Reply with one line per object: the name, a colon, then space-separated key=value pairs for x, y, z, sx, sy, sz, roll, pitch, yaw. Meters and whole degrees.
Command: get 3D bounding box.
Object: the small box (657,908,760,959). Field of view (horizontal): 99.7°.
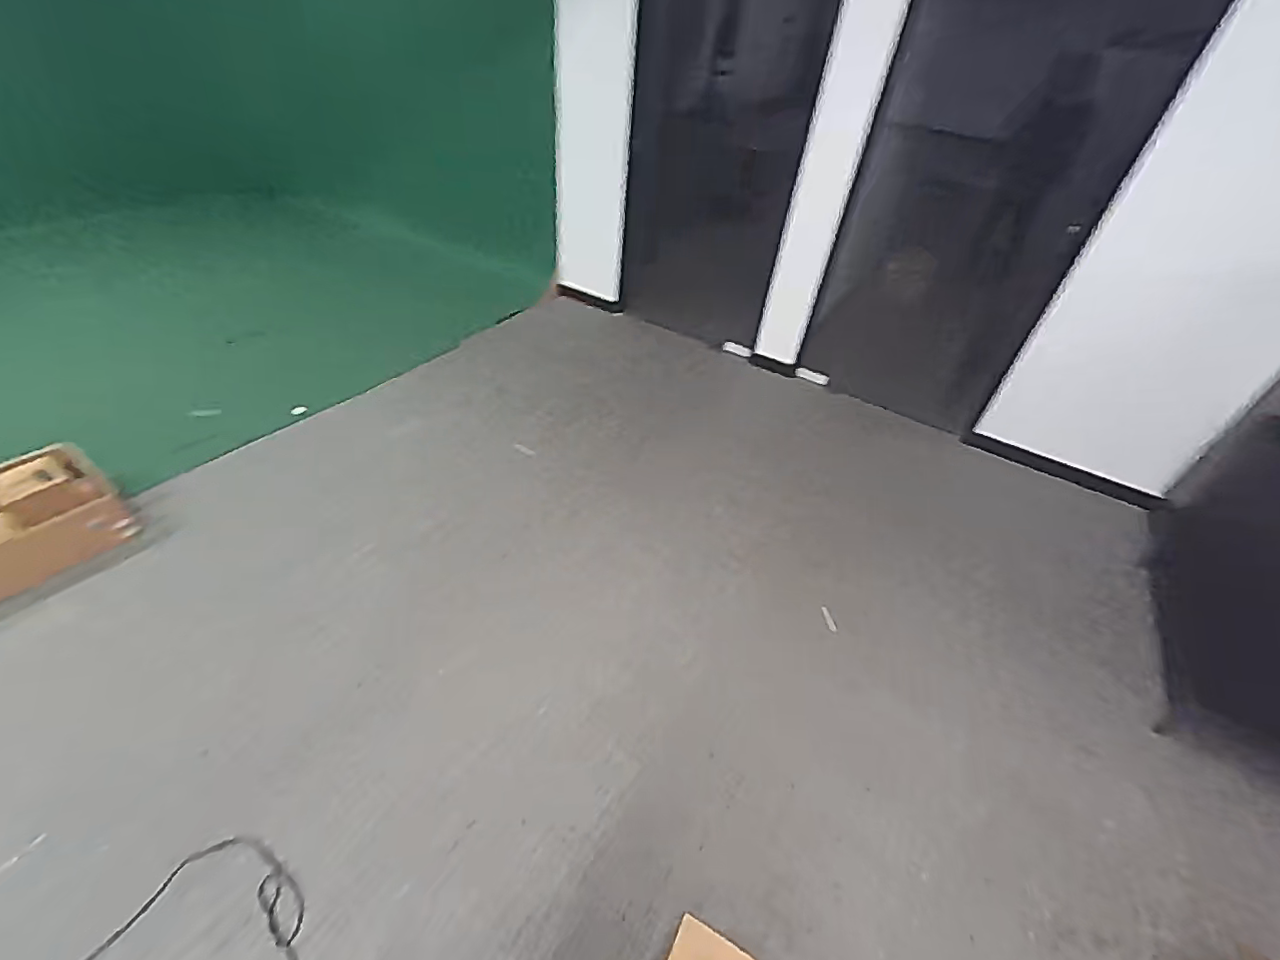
small box: x=0.100 y=0.901 z=0.933 sx=0.168 sy=0.176 sz=0.179 roll=24 pitch=43 yaw=16
